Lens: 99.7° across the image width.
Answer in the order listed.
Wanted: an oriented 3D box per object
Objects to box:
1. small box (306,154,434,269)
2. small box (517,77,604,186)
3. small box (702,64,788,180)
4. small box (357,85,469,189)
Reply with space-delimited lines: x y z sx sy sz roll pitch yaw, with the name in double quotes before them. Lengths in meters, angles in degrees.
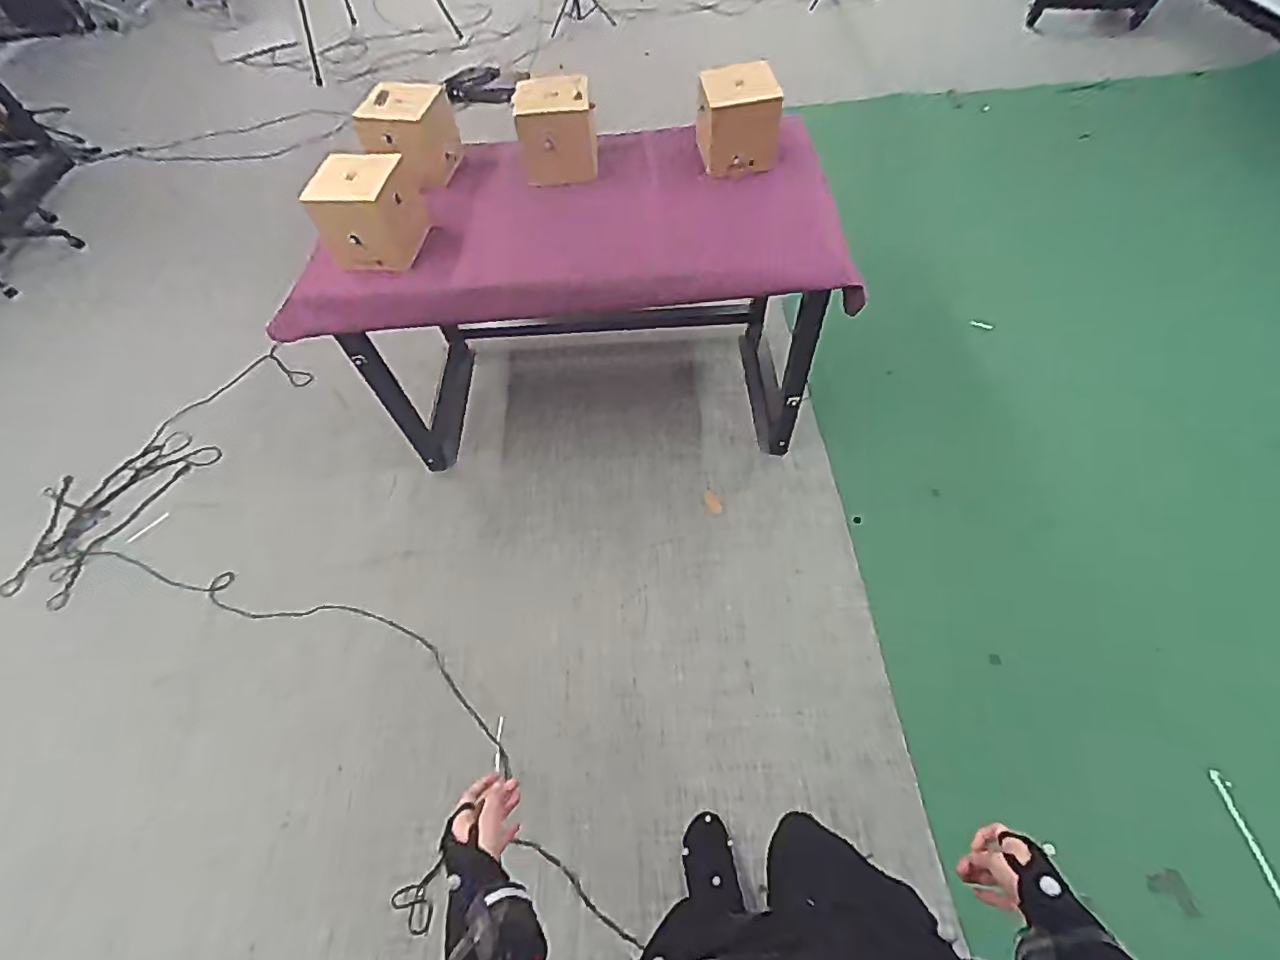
"small box" -0.579 -0.585 1.189 0.168 0.176 0.179 4 58 6
"small box" -0.188 -0.849 1.327 0.179 0.176 0.168 -4 60 3
"small box" 0.244 -0.857 1.300 0.168 0.176 0.179 -8 59 1
"small box" -0.558 -0.857 1.356 0.179 0.176 0.168 8 60 7
